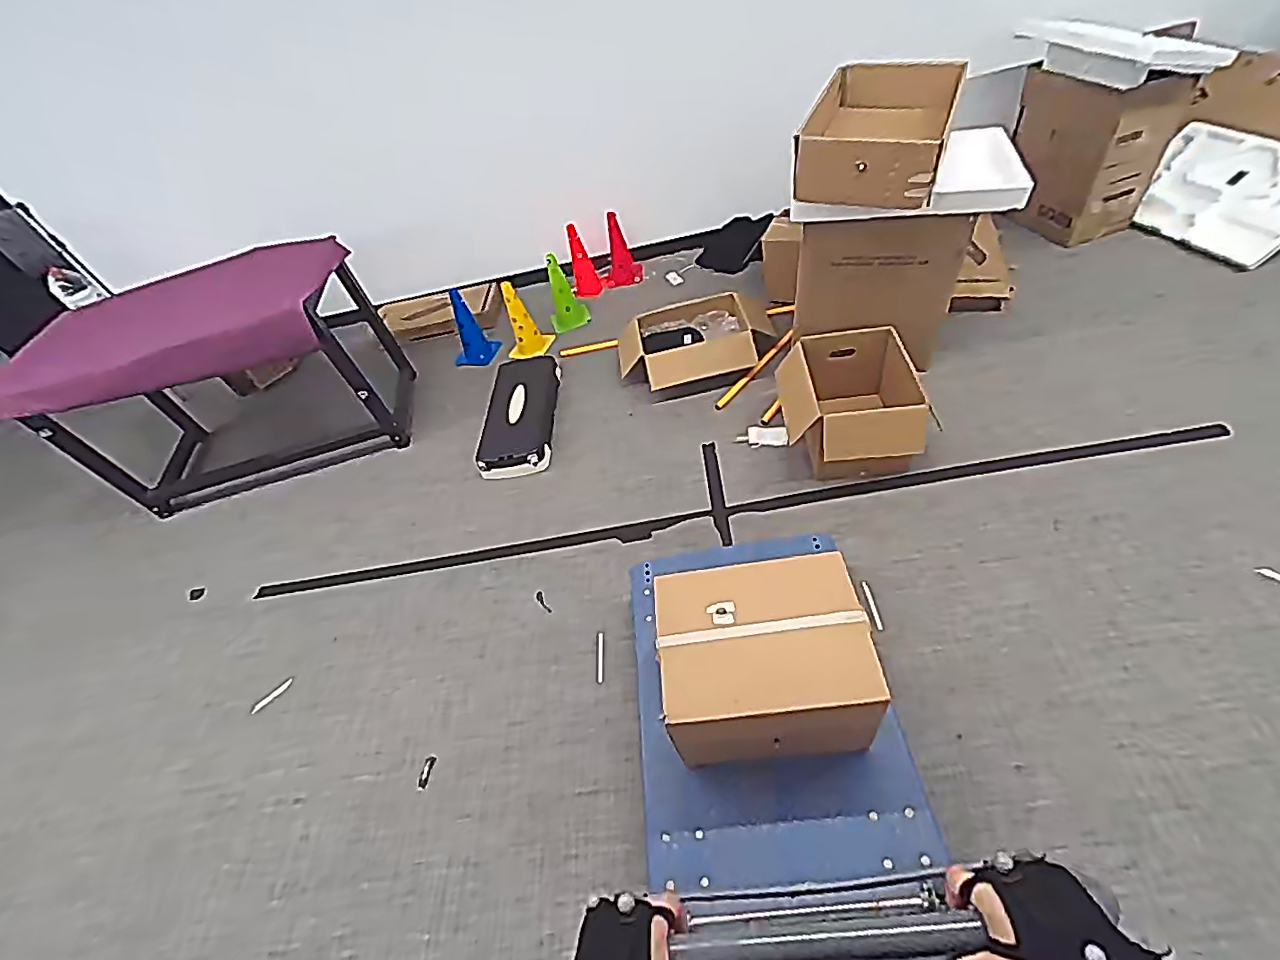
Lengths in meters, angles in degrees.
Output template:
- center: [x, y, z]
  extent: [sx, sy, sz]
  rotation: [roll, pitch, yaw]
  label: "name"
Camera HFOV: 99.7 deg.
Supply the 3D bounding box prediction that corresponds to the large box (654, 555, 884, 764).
- center: [0.264, 0.403, 1.187]
  extent: [0.408, 0.320, 0.320]
  rotation: [-10, 47, 7]
  label: "large box"
